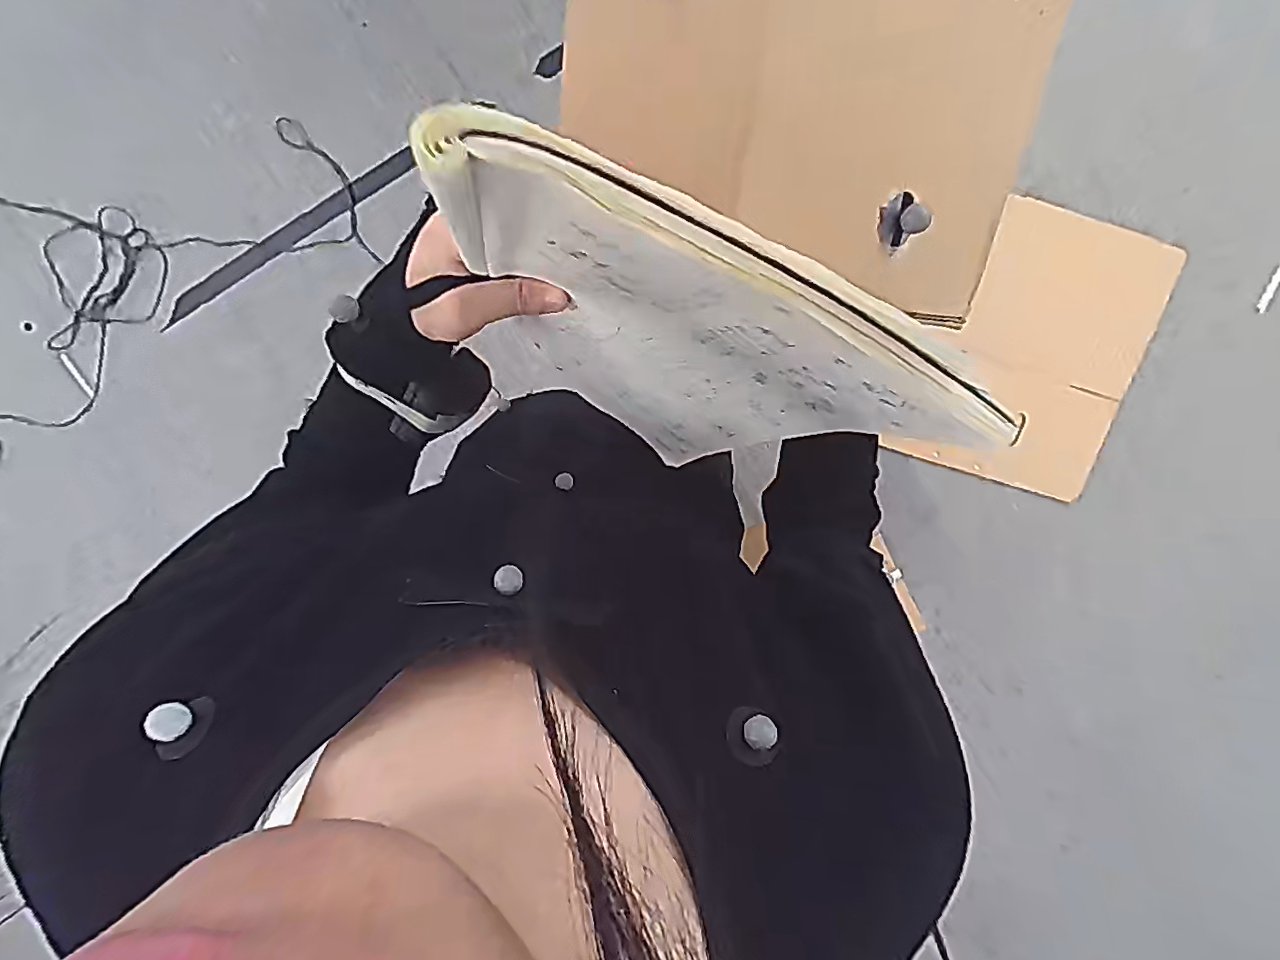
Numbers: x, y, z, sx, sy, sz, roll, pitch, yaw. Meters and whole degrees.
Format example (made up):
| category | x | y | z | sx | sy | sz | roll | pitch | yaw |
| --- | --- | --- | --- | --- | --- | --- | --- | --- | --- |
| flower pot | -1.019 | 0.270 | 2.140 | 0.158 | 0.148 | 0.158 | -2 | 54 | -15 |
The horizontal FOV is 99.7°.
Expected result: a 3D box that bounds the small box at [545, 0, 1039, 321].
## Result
| category | x | y | z | sx | sy | sz | roll | pitch | yaw |
| --- | --- | --- | --- | --- | --- | --- | --- | --- | --- |
| small box | 0.066 | -0.184 | 0.279 | 0.179 | 0.168 | 0.176 | -4 | 112 | -31 |
